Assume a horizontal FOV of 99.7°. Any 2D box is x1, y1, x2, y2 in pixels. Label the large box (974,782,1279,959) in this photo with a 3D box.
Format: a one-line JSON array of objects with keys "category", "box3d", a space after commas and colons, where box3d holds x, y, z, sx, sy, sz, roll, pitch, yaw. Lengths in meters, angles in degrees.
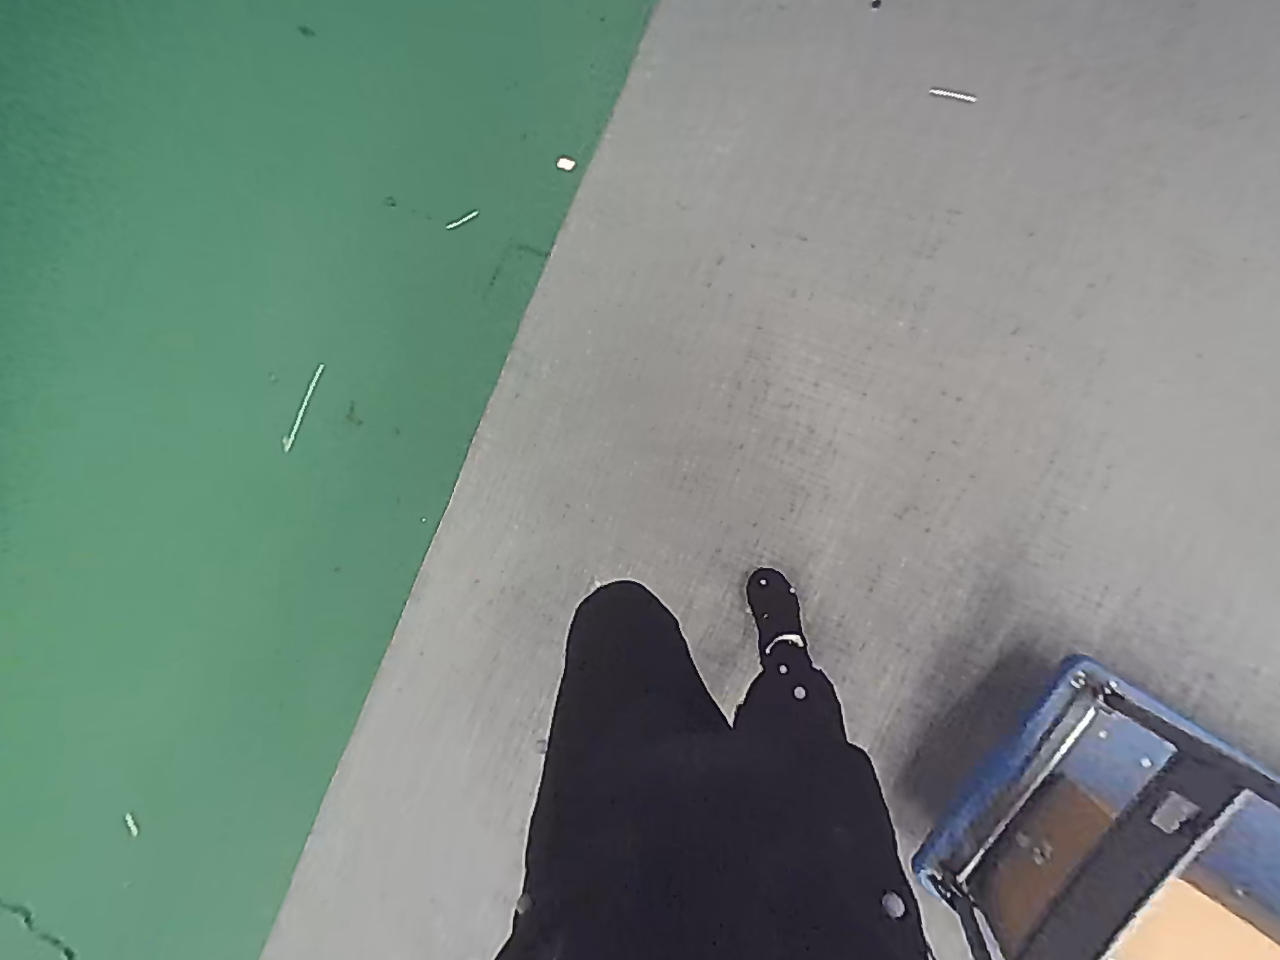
[{"category": "large box", "box3d": [0.859, 0.799, 0.871, 0.408, 0.320, 0.320, 34, 95, 15]}]
